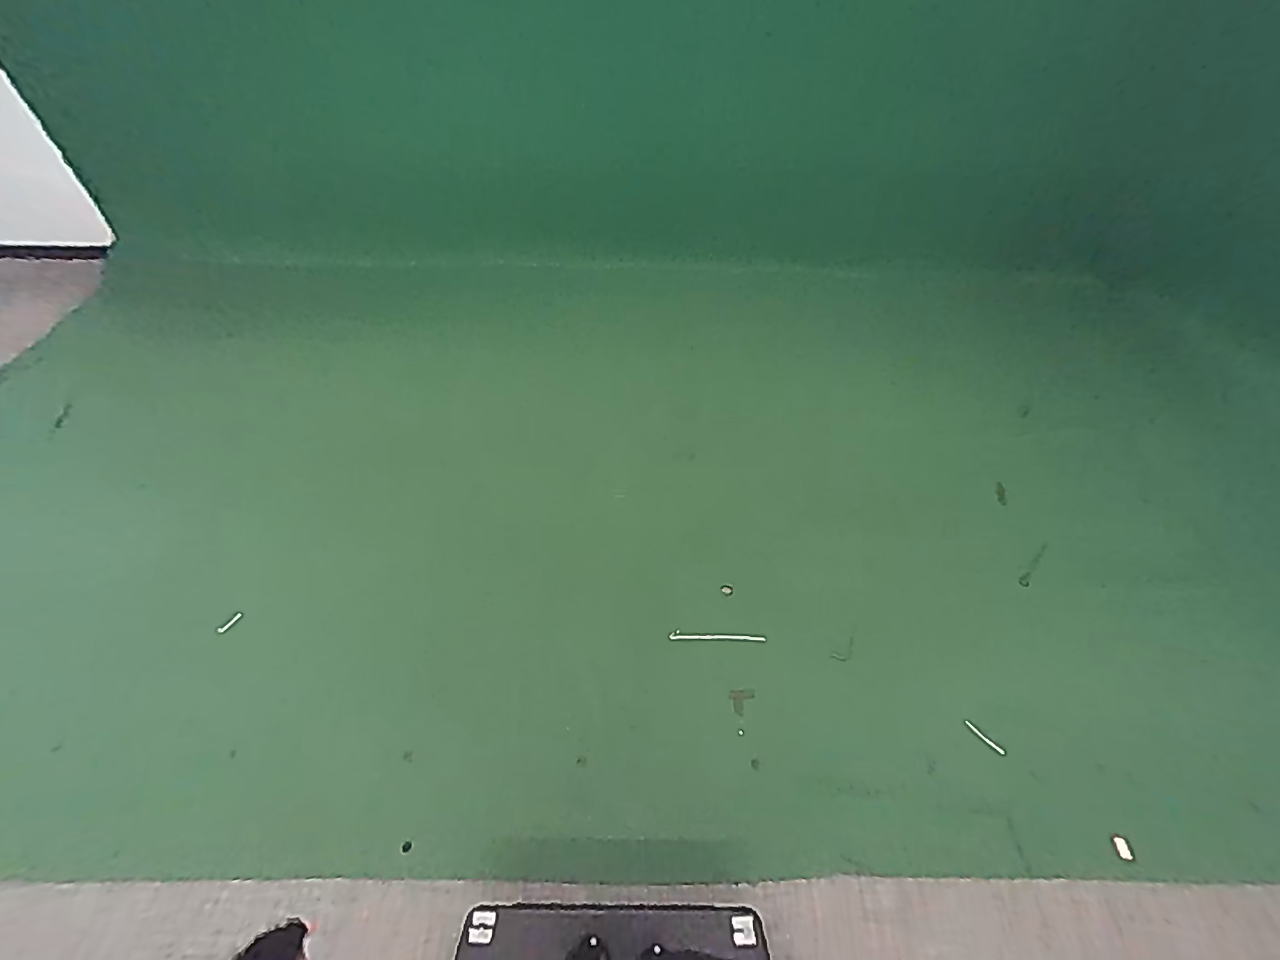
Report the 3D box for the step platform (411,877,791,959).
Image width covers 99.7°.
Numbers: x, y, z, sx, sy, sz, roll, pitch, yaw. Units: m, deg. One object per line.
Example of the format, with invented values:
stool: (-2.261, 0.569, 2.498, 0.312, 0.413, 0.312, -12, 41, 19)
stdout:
step platform: (-0.069, 0.932, 1.016, 0.684, 0.204, 0.286, 0, 50, -1)
